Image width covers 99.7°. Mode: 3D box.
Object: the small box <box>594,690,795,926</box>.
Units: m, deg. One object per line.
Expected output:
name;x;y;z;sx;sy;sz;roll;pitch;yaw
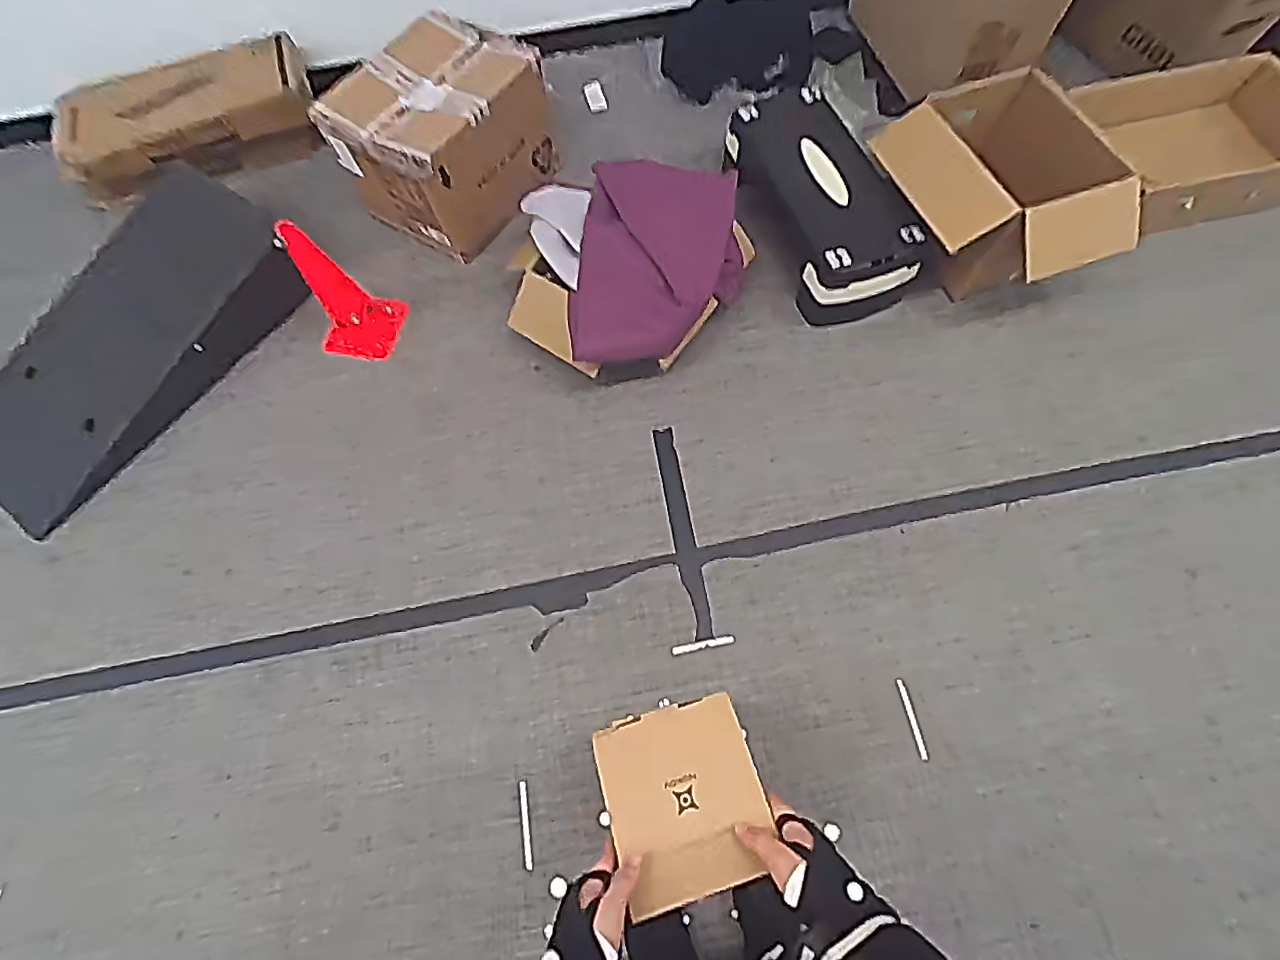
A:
small box;0.053;0.370;0.623;0.168;0.176;0.179;-17;58;-6
